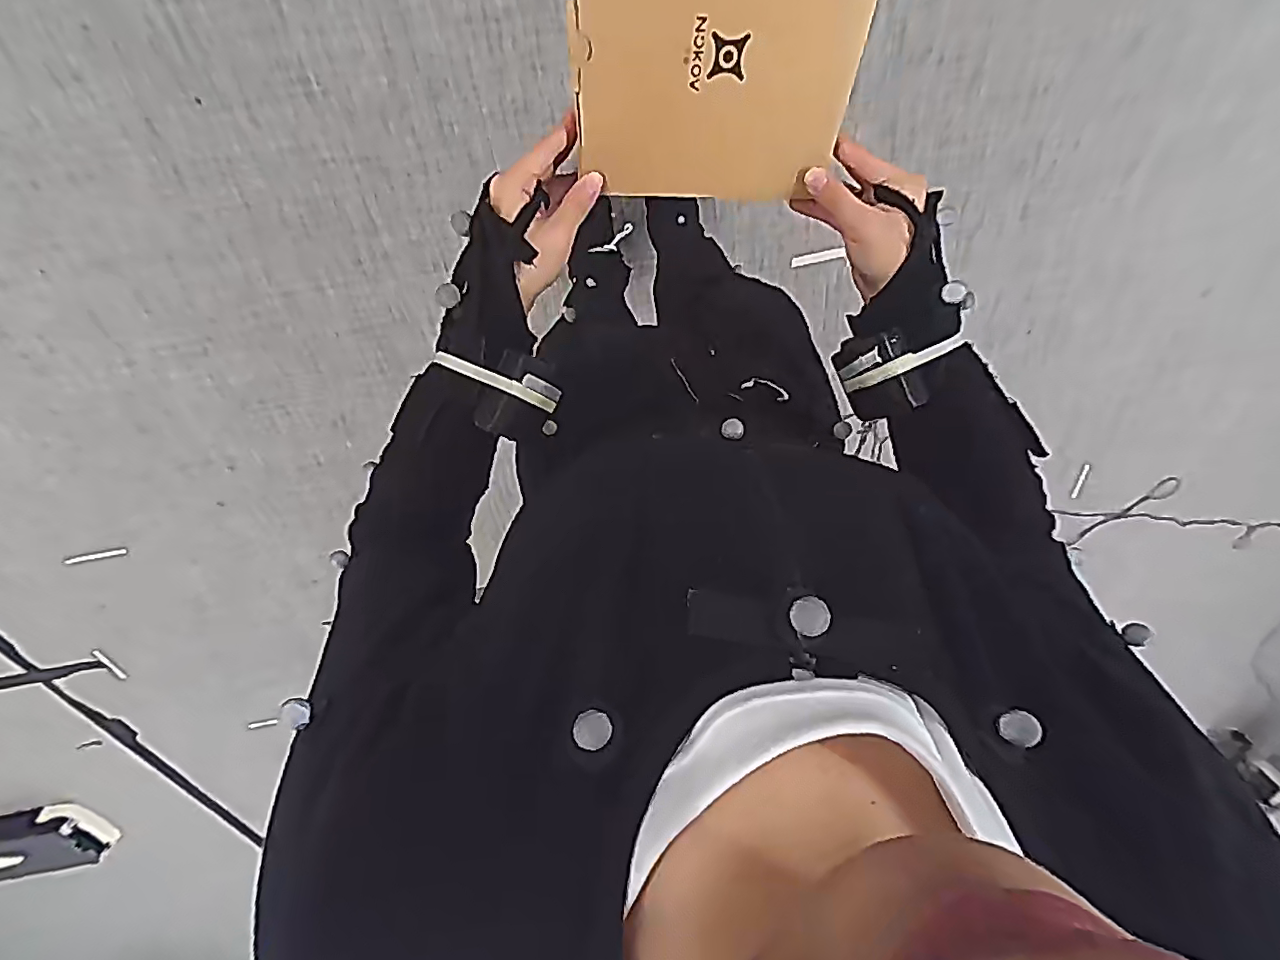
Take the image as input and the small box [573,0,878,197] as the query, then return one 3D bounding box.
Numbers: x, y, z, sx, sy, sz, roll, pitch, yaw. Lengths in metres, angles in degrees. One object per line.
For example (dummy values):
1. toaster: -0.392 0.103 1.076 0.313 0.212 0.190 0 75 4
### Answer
1. small box: 0.043 -0.320 0.375 0.179 0.176 0.168 -2 142 -5
